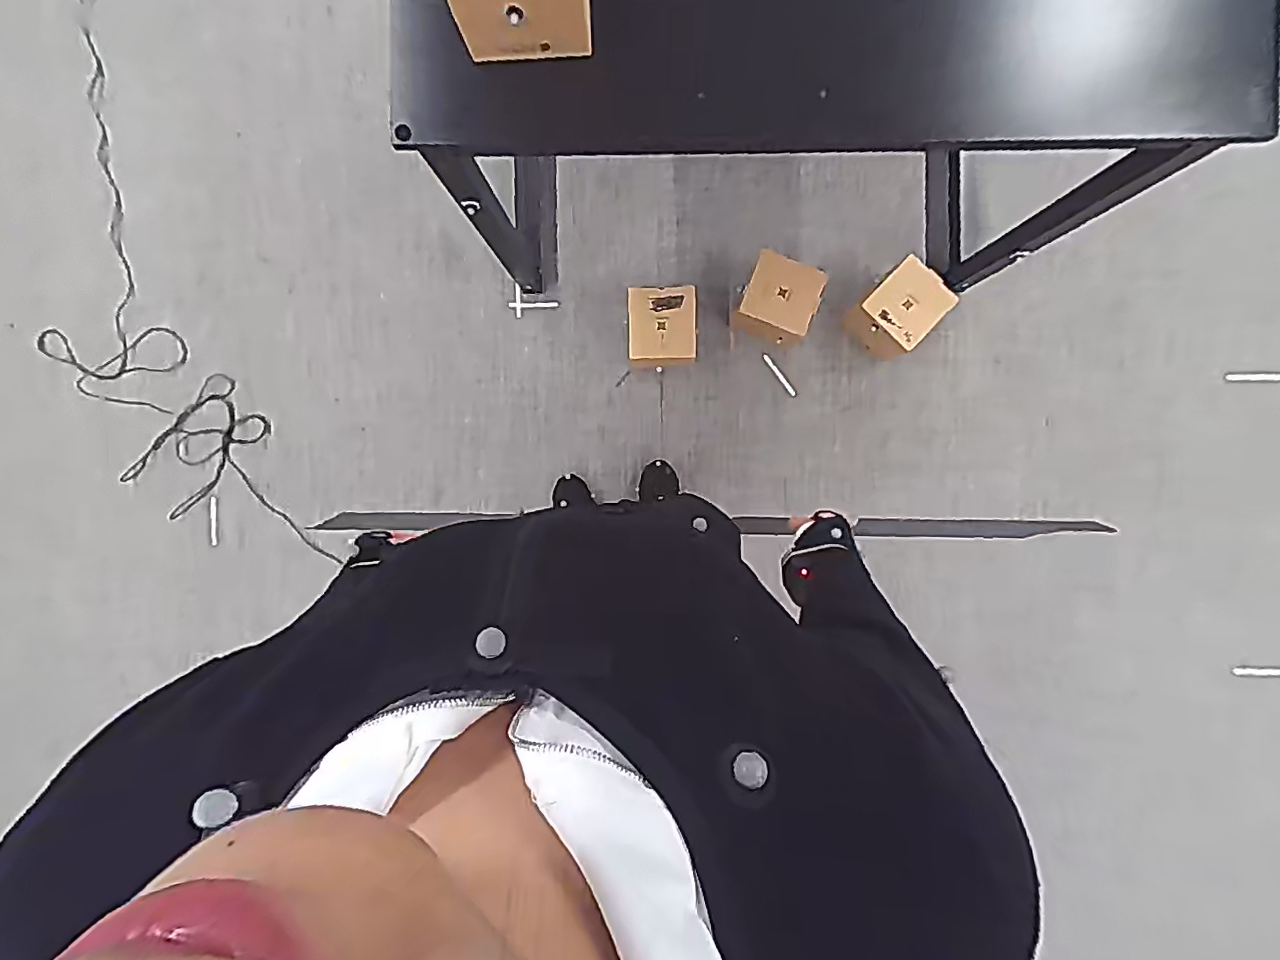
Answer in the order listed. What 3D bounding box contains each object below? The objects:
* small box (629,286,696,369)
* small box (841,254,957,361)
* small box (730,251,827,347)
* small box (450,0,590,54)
[{"bbox_3d":[0.055,-0.389,1.400,0.168,0.176,0.179,-1,93,1],"label":"small box"},{"bbox_3d":[0.651,-0.432,1.386,0.168,0.176,0.179,44,92,0],"label":"small box"},{"bbox_3d":[0.349,-0.455,1.394,0.179,0.176,0.168,21,92,1],"label":"small box"},{"bbox_3d":[-0.153,-0.664,0.663,0.168,0.176,0.179,-2,92,0],"label":"small box"}]
